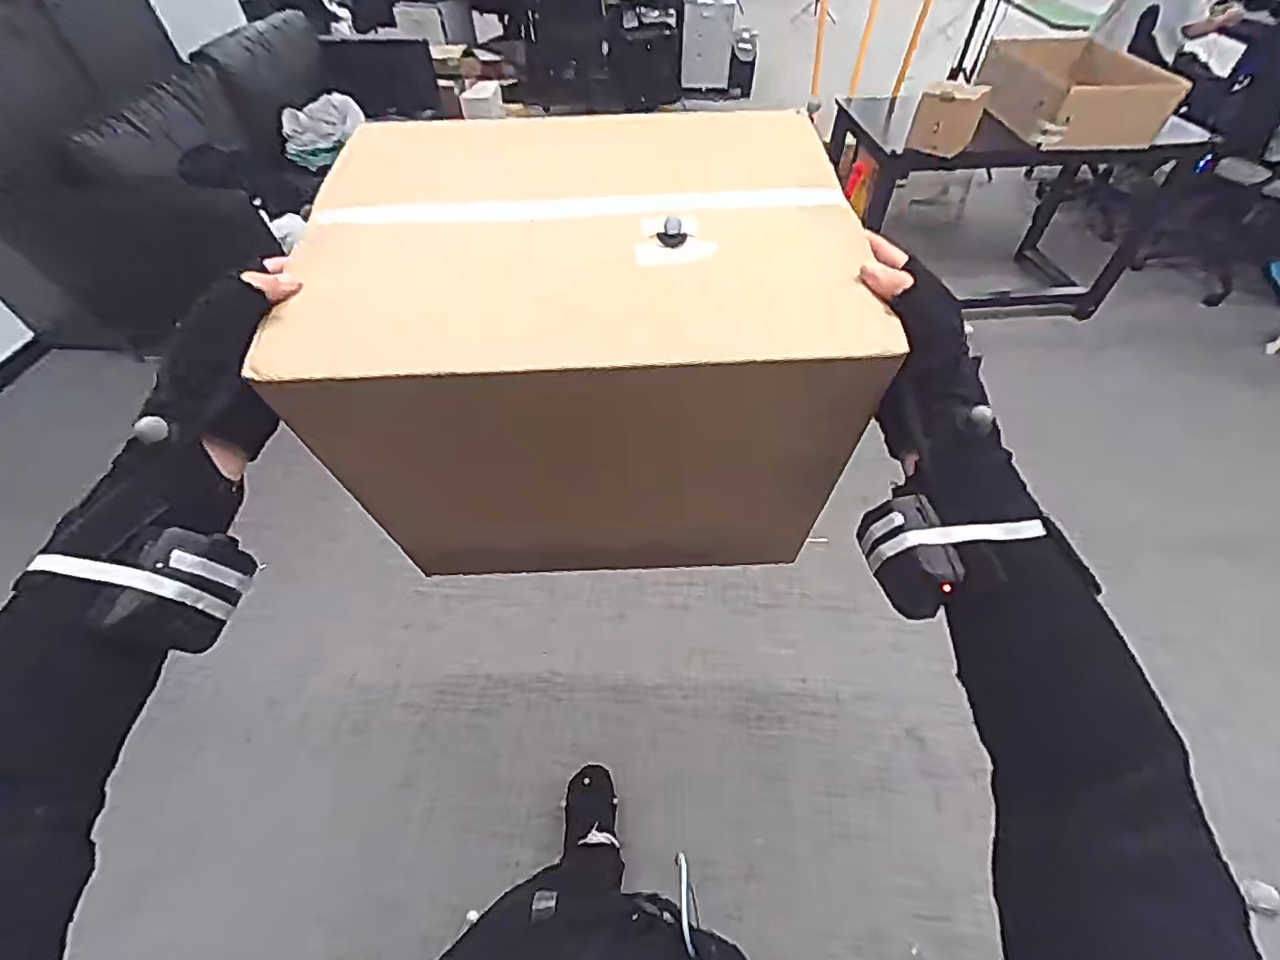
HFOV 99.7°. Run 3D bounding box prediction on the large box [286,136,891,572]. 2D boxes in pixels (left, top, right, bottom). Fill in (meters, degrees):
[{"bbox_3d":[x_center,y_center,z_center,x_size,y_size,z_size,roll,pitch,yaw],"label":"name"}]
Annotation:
[{"bbox_3d":[-0.039,-0.113,0.554,0.408,0.320,0.320,-2,58,-1],"label":"large box"}]
